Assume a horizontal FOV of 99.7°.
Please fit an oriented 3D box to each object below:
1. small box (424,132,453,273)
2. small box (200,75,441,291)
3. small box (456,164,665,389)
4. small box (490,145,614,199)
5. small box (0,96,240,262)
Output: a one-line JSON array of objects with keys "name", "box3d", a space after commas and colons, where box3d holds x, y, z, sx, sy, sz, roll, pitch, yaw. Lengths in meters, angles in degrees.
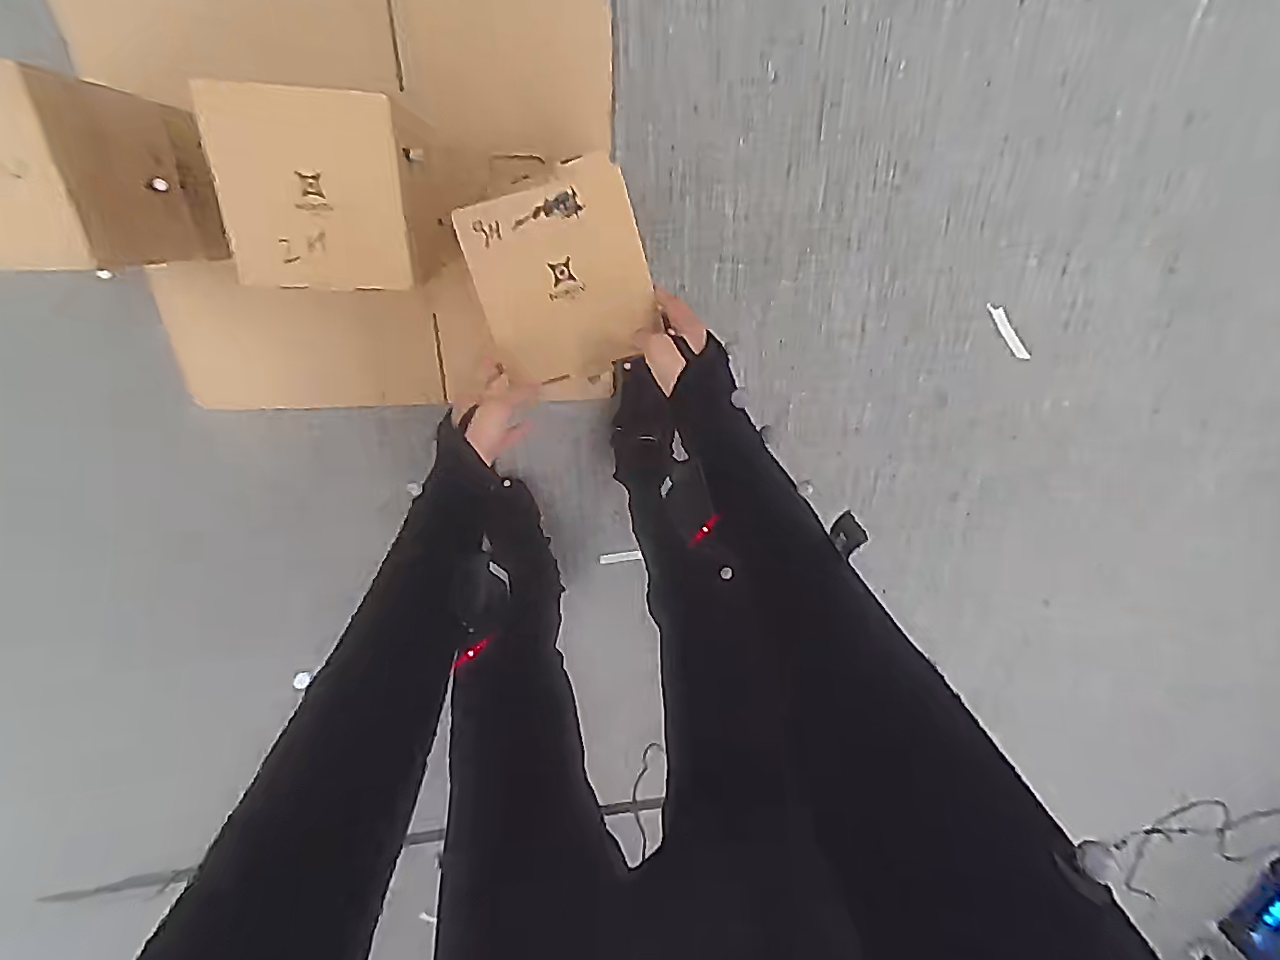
[{"name": "small box", "box3d": [-0.357, -0.381, 0.735, 0.179, 0.176, 0.168, -1, 117, -9]}, {"name": "small box", "box3d": [-0.322, -0.310, 0.590, 0.168, 0.176, 0.179, -1, 117, -9]}, {"name": "small box", "box3d": [-0.078, -0.214, 0.602, 0.168, 0.176, 0.179, -16, 105, -1]}, {"name": "small box", "box3d": [-0.101, -0.356, 0.790, 0.168, 0.176, 0.179, -20, 117, 2]}, {"name": "small box", "box3d": [-0.620, -0.376, 0.691, 0.179, 0.176, 0.168, -2, 117, -7]}]
